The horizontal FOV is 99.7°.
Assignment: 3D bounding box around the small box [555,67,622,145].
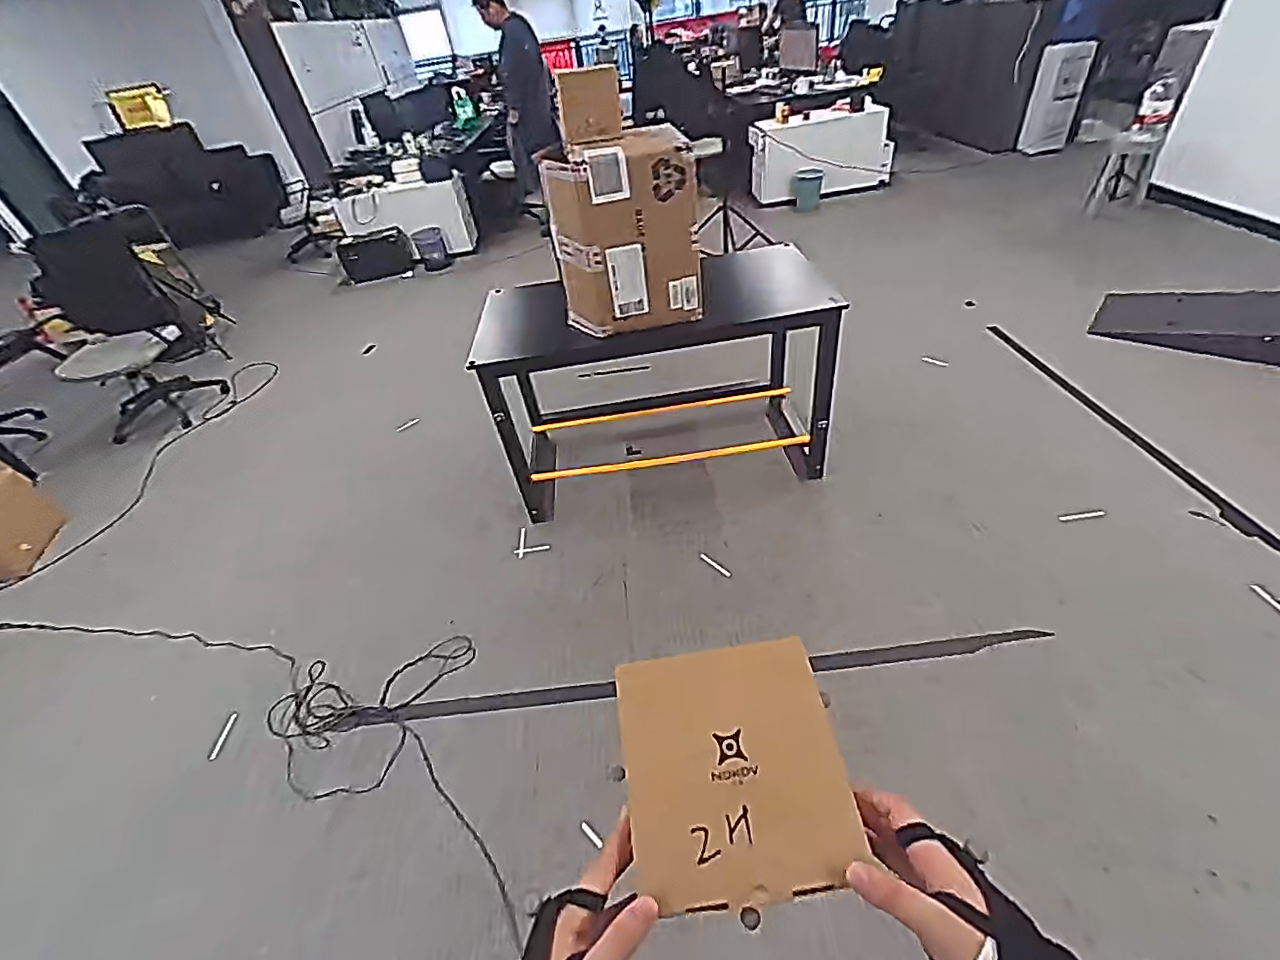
[{"bbox_3d":[-0.151,-1.090,1.575,0.168,0.176,0.179,-11,39,-4],"label":"small box"}]
